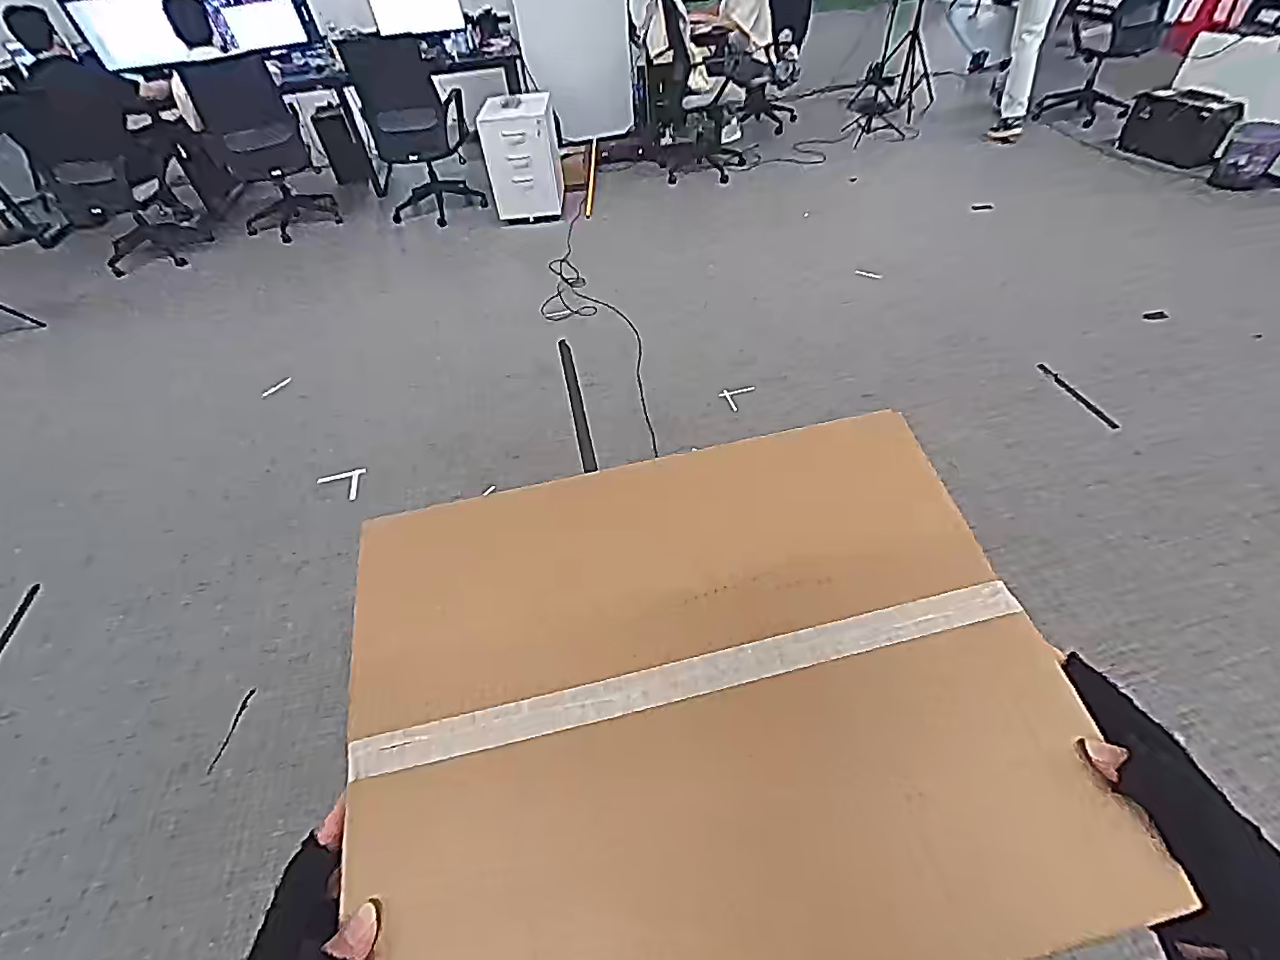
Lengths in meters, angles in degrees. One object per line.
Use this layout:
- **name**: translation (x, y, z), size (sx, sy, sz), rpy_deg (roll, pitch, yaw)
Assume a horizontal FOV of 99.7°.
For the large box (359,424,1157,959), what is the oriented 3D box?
- **large box**: translation (0.043, 0.202, 0.455), size (0.408, 0.320, 0.320), rpy_deg (-13, 58, -4)
